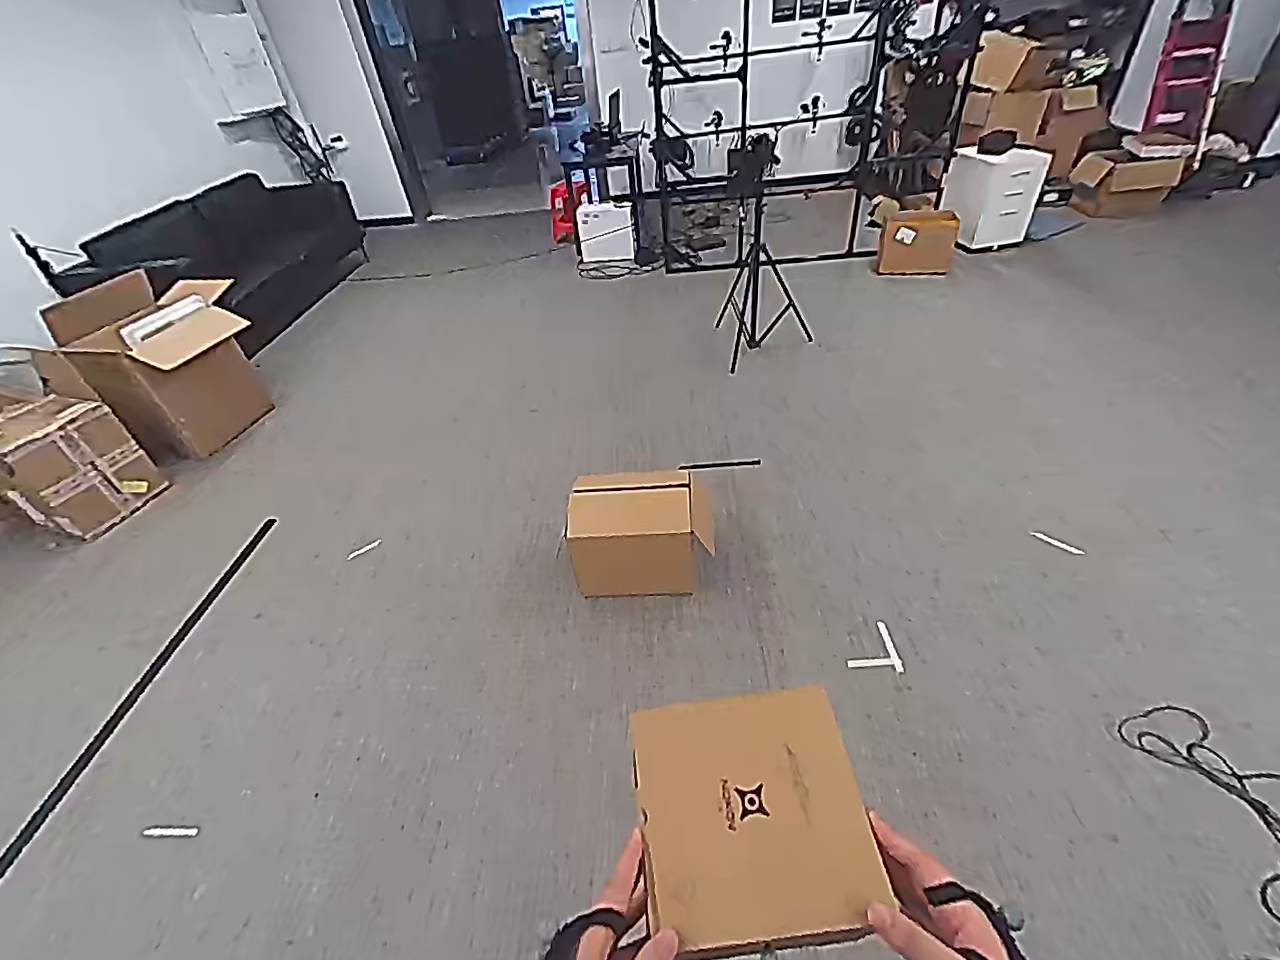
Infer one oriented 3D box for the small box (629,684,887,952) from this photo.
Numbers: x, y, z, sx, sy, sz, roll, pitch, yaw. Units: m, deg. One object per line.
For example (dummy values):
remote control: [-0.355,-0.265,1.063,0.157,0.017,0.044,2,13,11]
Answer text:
small box: [0.092,0.310,0.492,0.179,0.176,0.168,-8,47,0]
